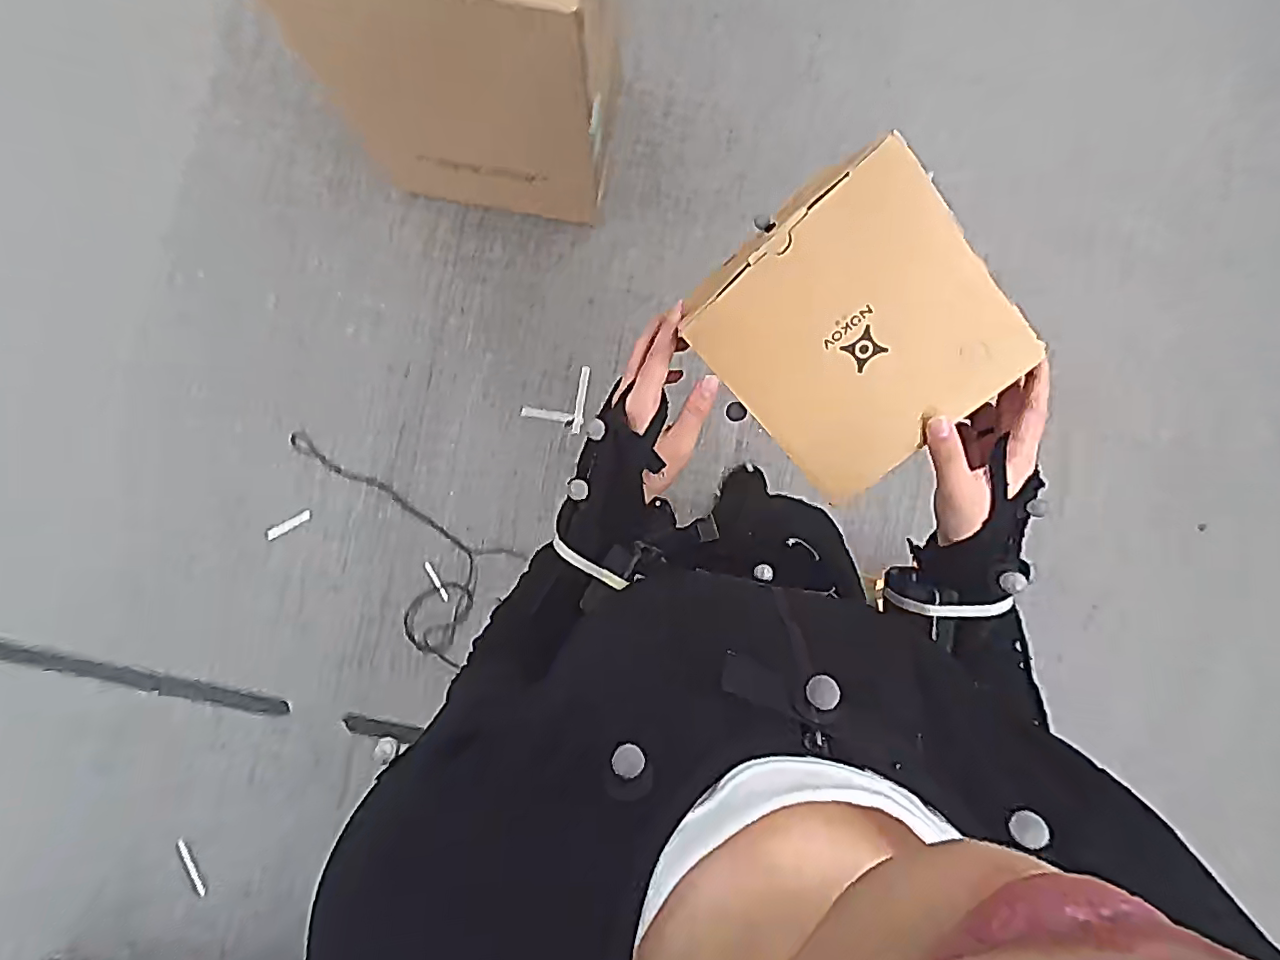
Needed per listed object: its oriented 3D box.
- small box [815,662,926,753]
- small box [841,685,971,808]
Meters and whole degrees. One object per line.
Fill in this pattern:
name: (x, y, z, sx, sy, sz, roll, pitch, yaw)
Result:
small box: (0.542, 0.550, 1.291, 0.179, 0.176, 0.168, 11, 87, 0)
small box: (0.545, 0.544, 1.126, 0.179, 0.176, 0.168, 10, 87, 0)
